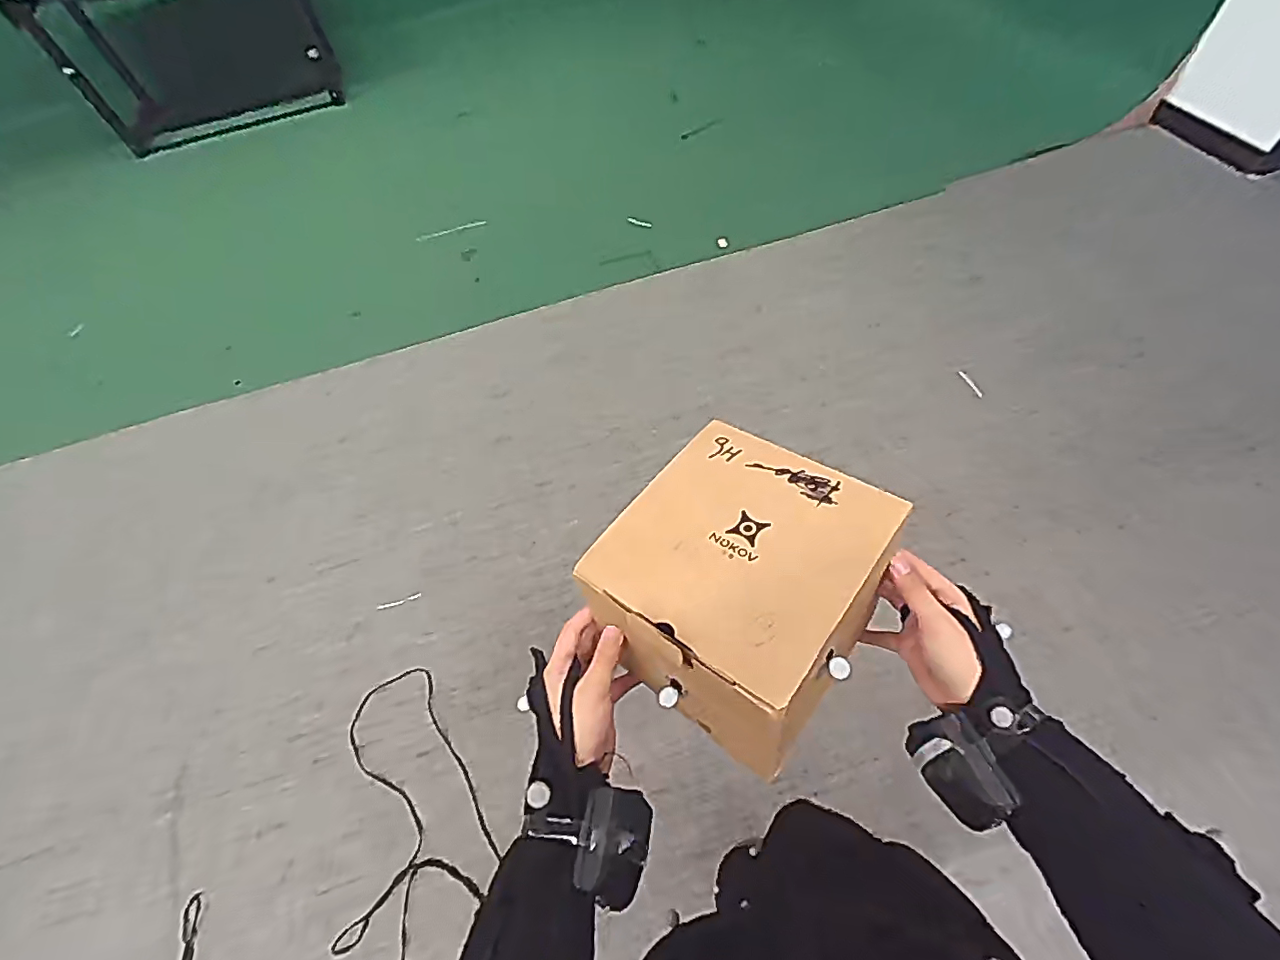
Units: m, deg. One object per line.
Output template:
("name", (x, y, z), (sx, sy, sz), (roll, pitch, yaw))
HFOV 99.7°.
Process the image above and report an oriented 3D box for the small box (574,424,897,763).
("small box", (0.079, 0.093, 0.440), (0.168, 0.176, 0.179), (28, 61, 30))
